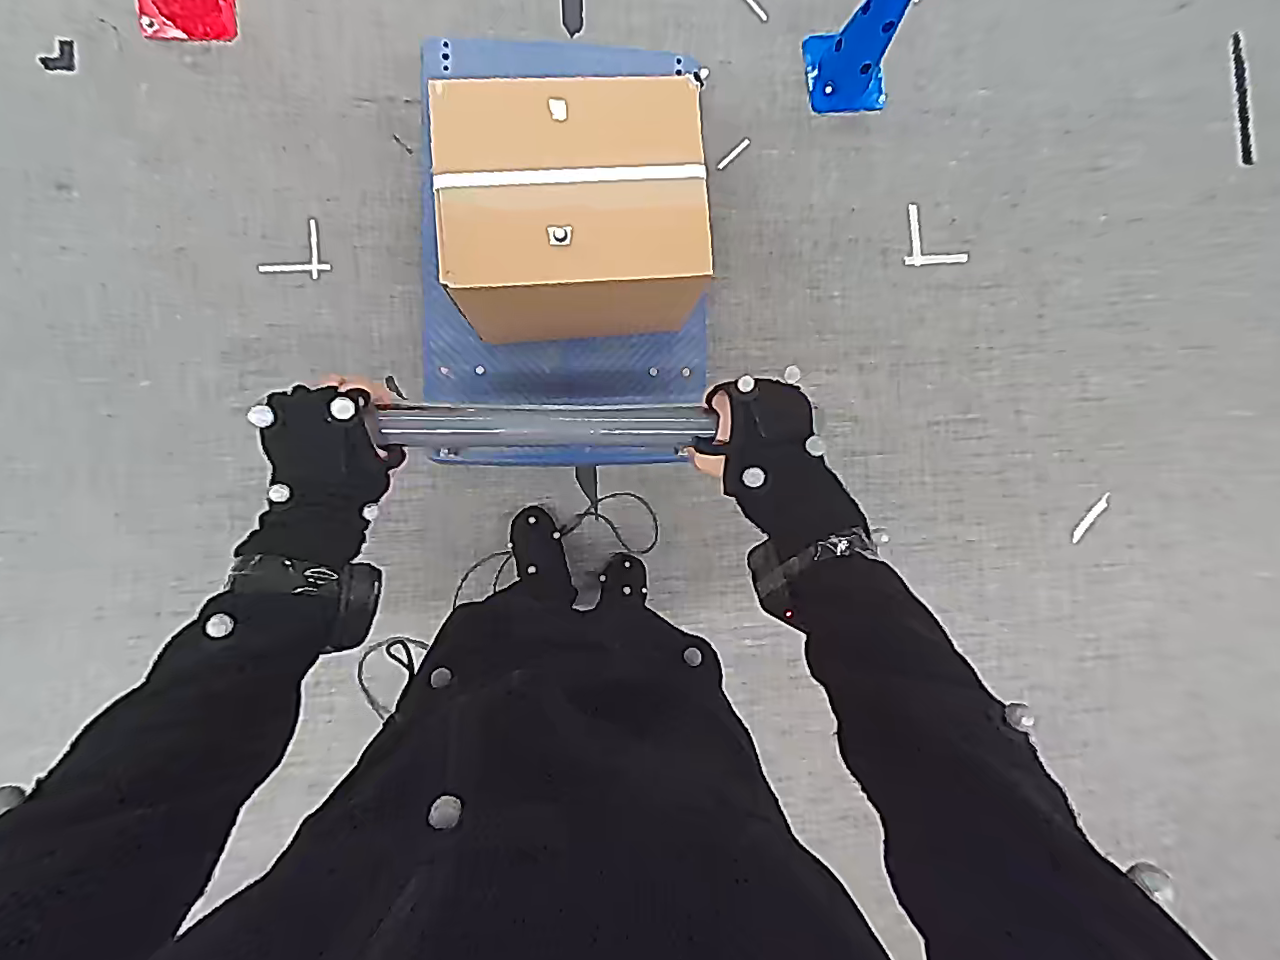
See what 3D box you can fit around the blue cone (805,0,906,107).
[{"bbox_3d":[0.536,-1.044,1.204,0.193,0.380,0.192,-6,88,-6],"label":"blue cone"}]
